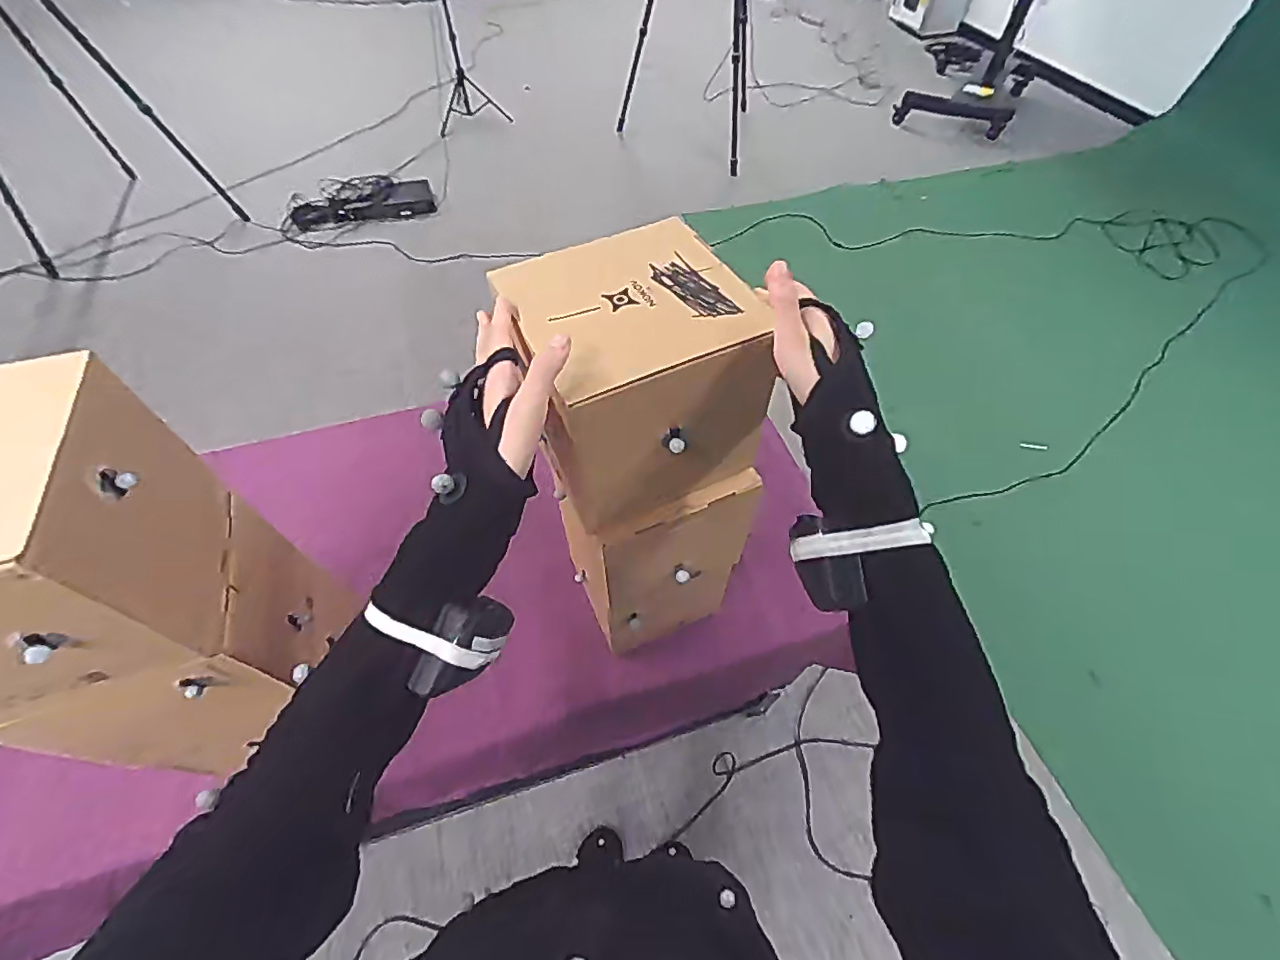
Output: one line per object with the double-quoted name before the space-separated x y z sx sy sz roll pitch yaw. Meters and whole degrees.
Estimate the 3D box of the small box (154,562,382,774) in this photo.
"small box" -0.437 0.230 0.648 0.179 0.176 0.168 -17 57 -12

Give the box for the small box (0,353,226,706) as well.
"small box" -0.433 0.044 0.381 0.168 0.176 0.179 -14 55 -12

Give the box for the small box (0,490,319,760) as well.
"small box" -0.436 0.141 0.511 0.179 0.176 0.168 -16 56 -12

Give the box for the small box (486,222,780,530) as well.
"small box" -0.010 -0.087 0.469 0.179 0.176 0.168 -23 57 -15

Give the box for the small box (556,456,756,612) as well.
"small box" 0.002 0.016 0.599 0.168 0.176 0.179 -20 57 -13
